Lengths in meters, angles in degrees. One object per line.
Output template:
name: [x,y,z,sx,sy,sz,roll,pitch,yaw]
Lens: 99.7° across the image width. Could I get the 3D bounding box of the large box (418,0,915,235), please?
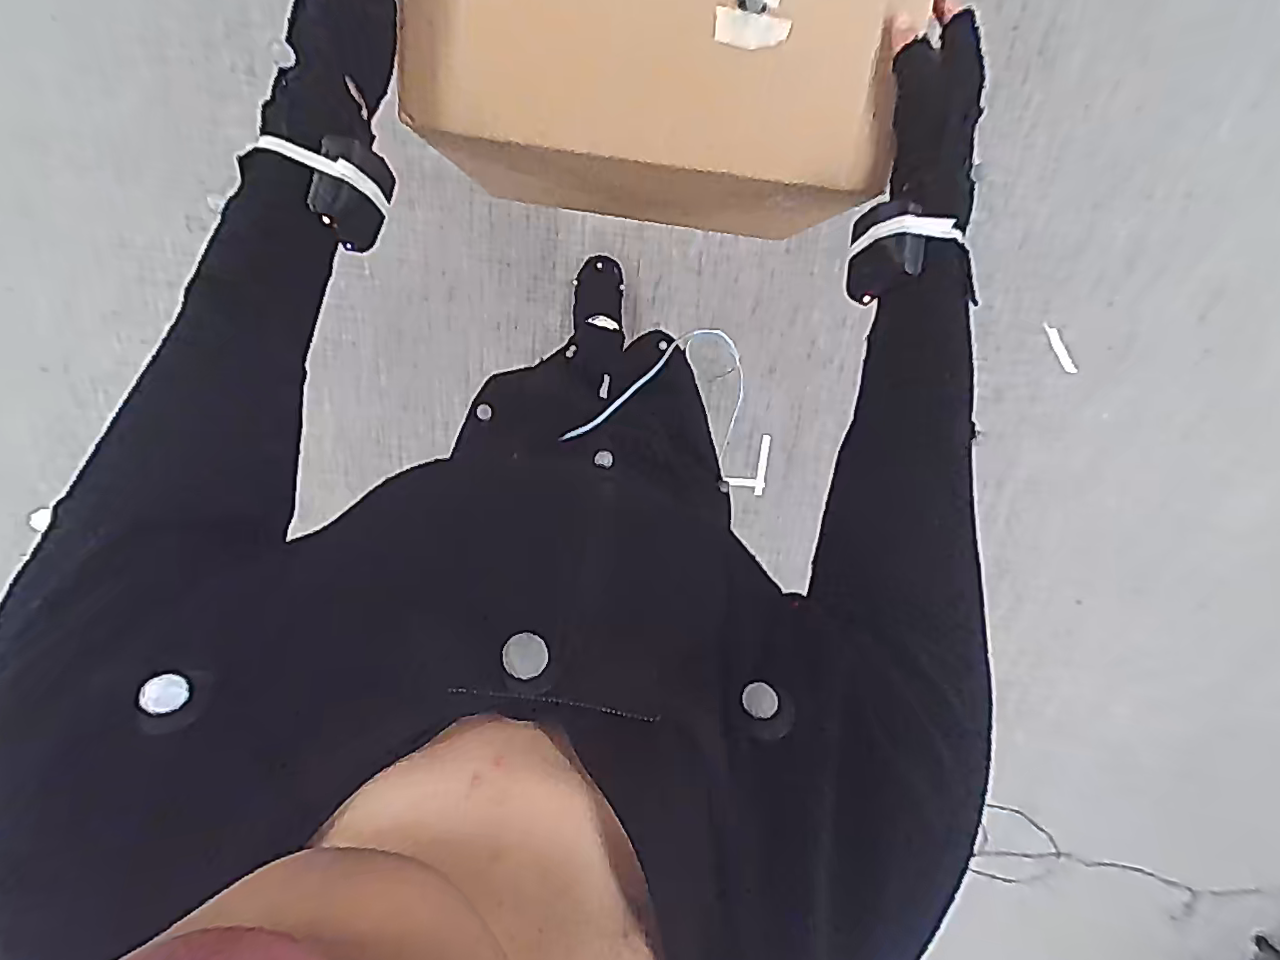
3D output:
large box: [0.021,-0.463,0.563,0.408,0.320,0.320,7,108,-4]
